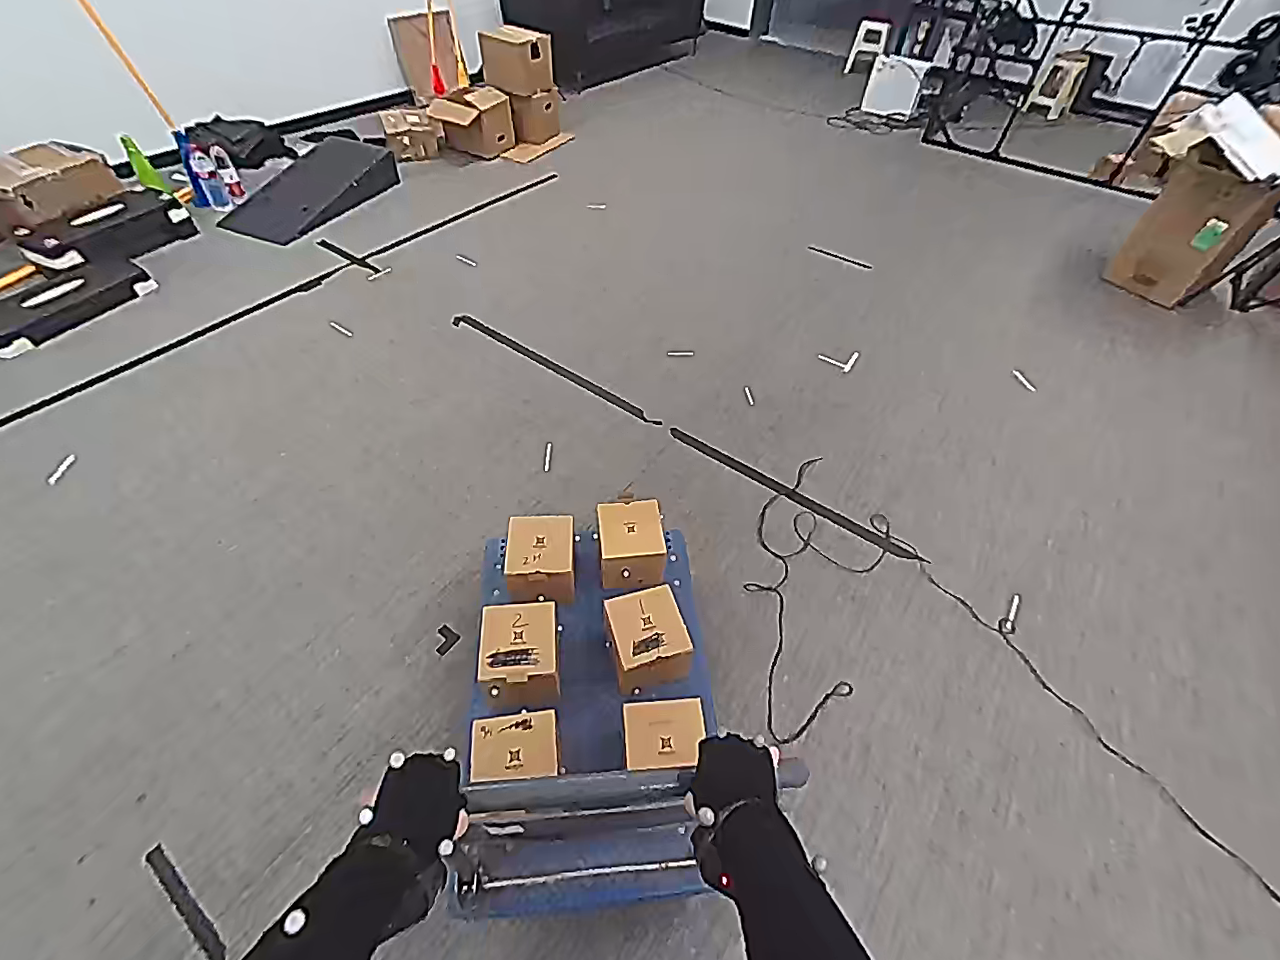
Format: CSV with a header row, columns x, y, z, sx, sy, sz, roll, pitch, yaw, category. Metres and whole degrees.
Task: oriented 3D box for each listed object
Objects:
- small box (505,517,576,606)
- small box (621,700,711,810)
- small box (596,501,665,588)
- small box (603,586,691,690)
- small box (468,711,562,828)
x,y,z,sx,sy,sz,roll,pitch,yaw,category
-0.257,0.216,1.429,0.168,0.176,0.179,-1,50,-5,small box
0.048,0.584,1.140,0.168,0.176,0.179,-1,49,-6,small box
-0.029,0.182,1.478,0.168,0.176,0.179,-4,50,-7,small box
0.012,0.388,1.304,0.168,0.176,0.179,-11,50,-13,small box
-0.248,0.596,1.106,0.168,0.176,0.179,-4,50,-8,small box
